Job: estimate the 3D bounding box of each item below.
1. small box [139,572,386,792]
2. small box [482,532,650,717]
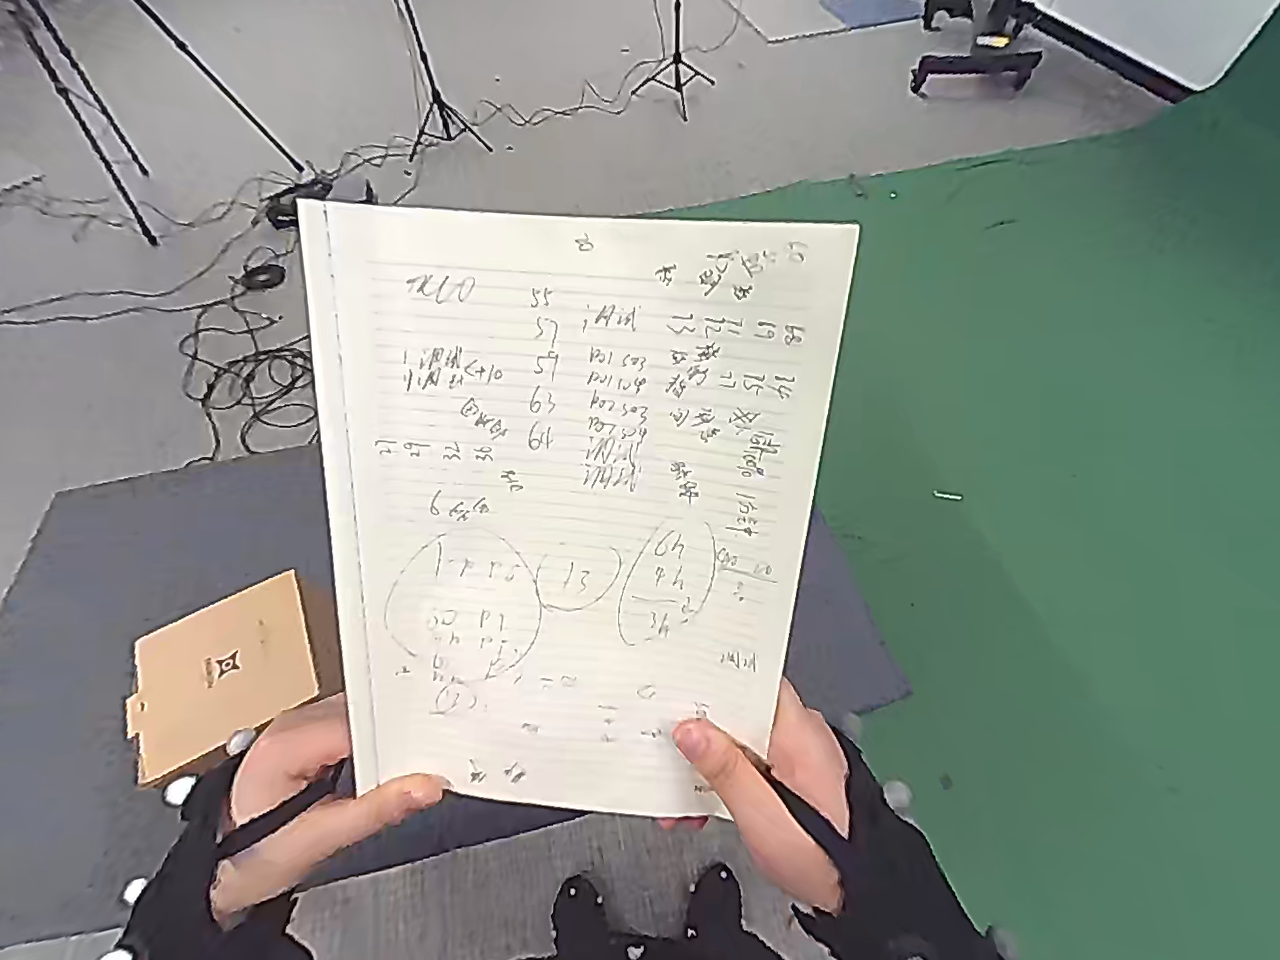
[{"bbox_3d":[-0.441,0.248,0.649,0.179,0.176,0.168,-26,60,-15],"label":"small box"},{"bbox_3d":[-0.075,0.180,0.666,0.168,0.176,0.179,0,57,4],"label":"small box"}]
